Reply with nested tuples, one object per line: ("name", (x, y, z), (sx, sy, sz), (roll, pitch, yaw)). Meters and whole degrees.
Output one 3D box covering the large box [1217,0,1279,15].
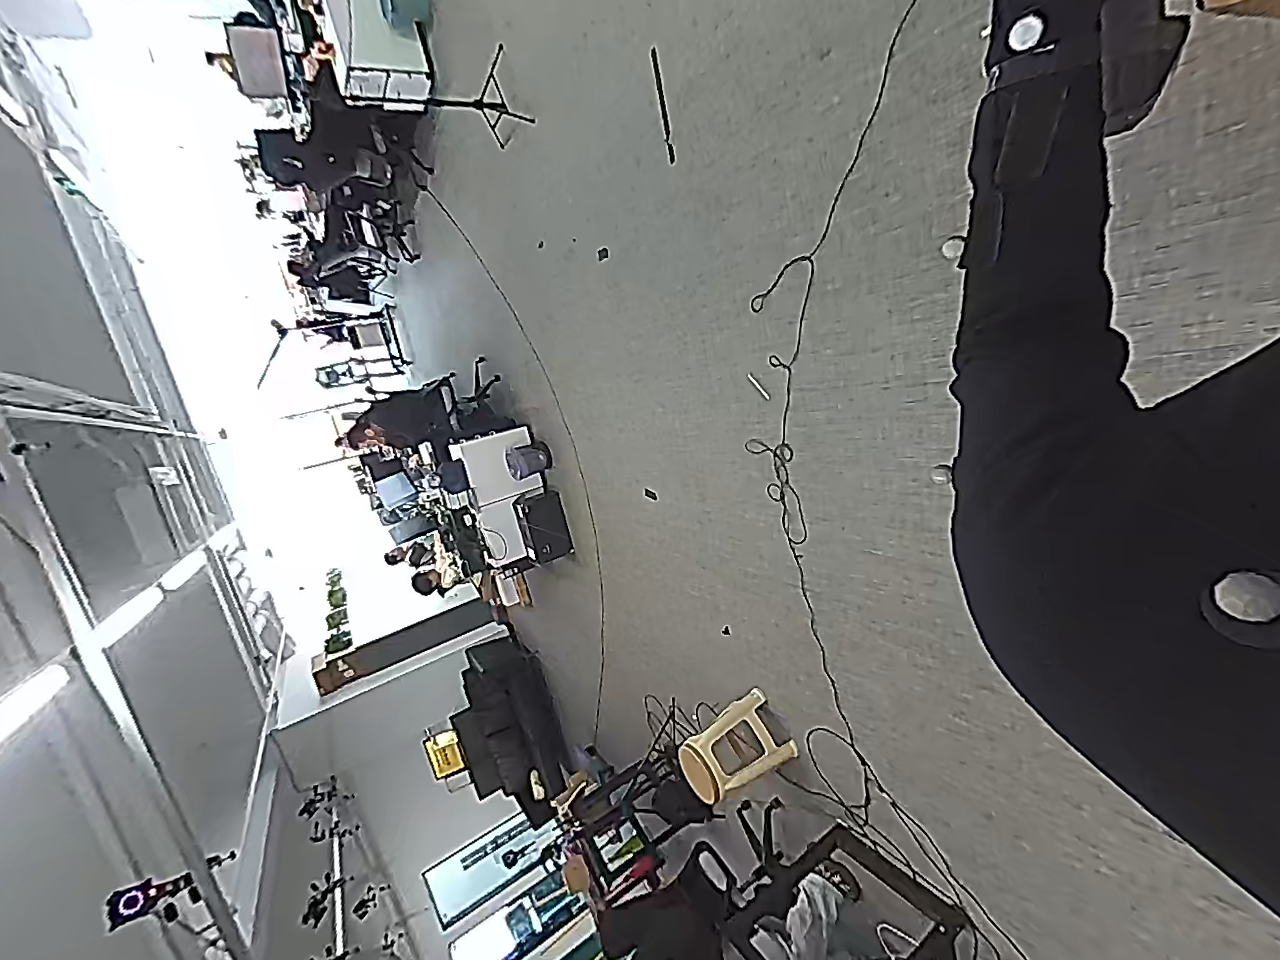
("large box", (0.480, -0.436, 0.157), (0.408, 0.320, 0.320), (6, 118, 57))
